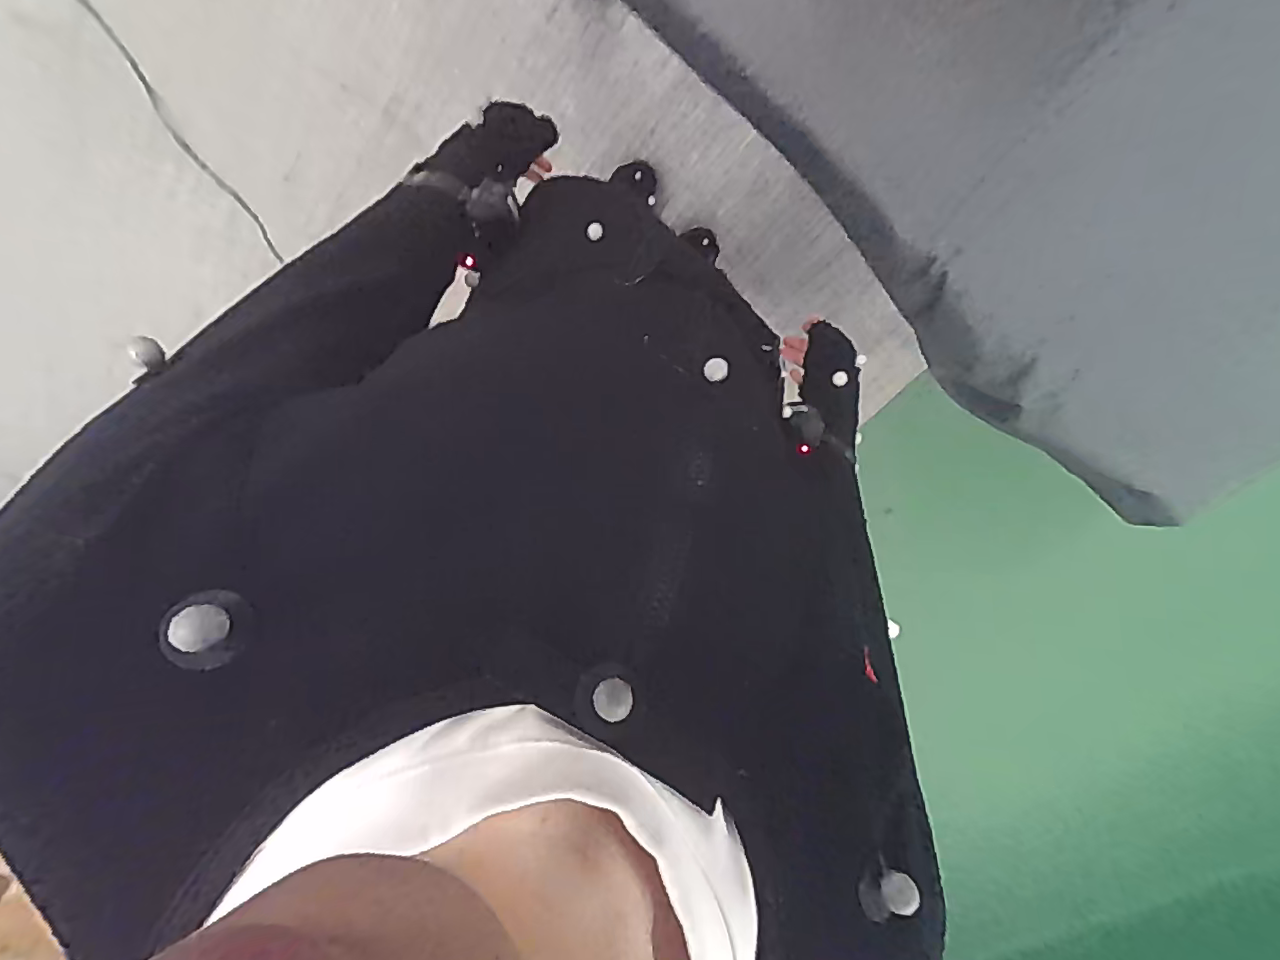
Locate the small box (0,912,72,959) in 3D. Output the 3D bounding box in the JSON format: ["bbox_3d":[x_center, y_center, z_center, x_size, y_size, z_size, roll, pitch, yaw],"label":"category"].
[{"bbox_3d":[-1.464,1.131,1.230,0.168,0.176,0.179,33,116,-17],"label":"small box"}]
